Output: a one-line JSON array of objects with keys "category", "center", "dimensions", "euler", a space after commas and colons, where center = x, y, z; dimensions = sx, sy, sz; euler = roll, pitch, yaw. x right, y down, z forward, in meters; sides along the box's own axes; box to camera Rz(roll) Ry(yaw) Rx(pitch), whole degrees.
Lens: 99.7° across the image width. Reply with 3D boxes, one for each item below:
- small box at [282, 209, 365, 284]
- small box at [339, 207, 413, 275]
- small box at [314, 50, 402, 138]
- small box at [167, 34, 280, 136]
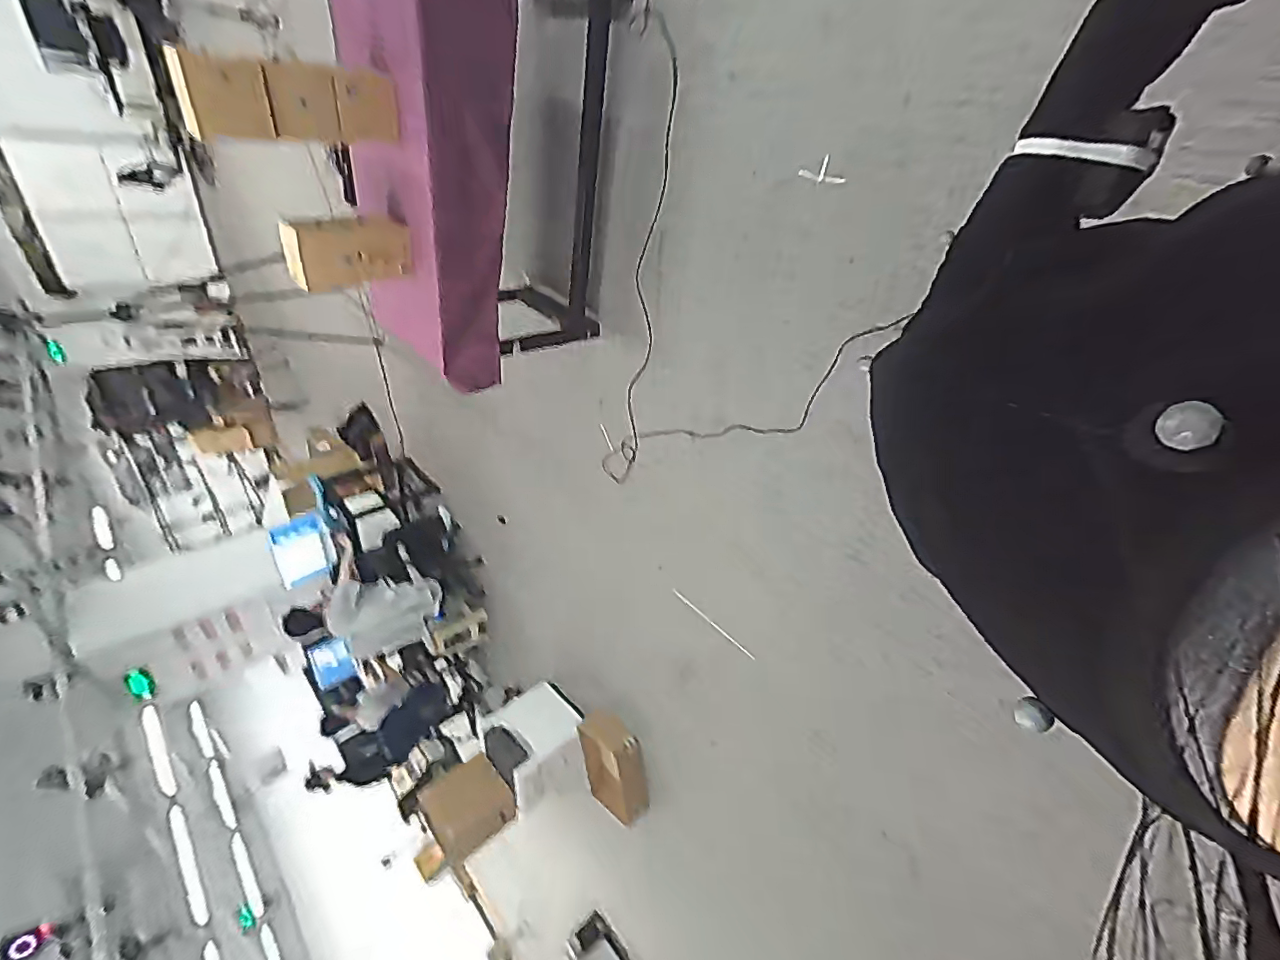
[{"category": "small box", "center": [-0.986, -0.735, 1.695], "dimensions": [0.168, 0.176, 0.179], "euler": [39, 134, 31]}, {"category": "small box", "center": [-0.866, -0.796, 1.790], "dimensions": [0.179, 0.176, 0.168], "euler": [38, 134, 32]}, {"category": "small box", "center": [-0.806, -1.107, 1.556], "dimensions": [0.168, 0.176, 0.179], "euler": [39, 135, 32]}, {"category": "small box", "center": [-1.039, -0.987, 1.358], "dimensions": [0.168, 0.176, 0.179], "euler": [39, 135, 32]}]
